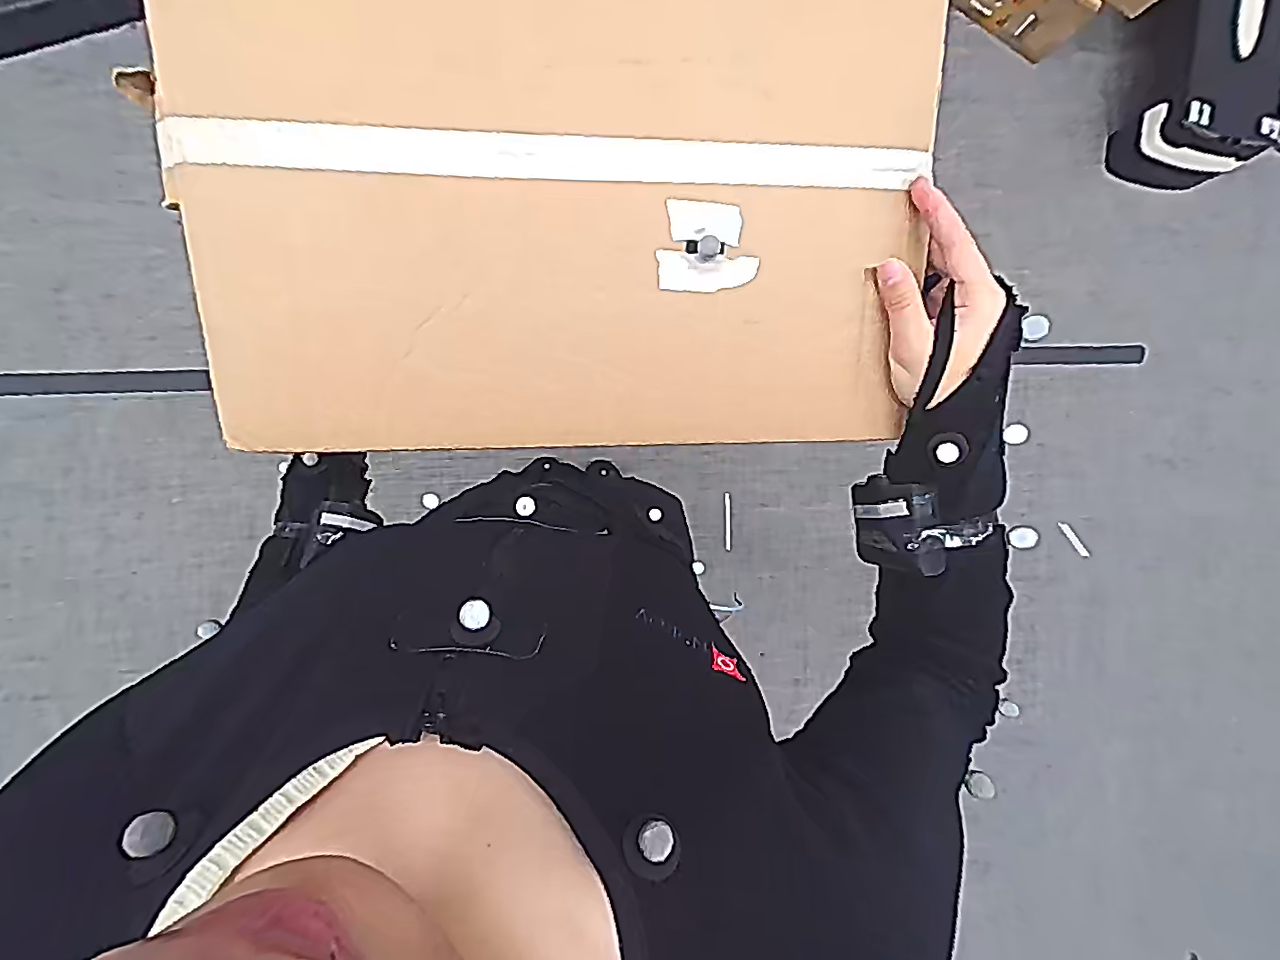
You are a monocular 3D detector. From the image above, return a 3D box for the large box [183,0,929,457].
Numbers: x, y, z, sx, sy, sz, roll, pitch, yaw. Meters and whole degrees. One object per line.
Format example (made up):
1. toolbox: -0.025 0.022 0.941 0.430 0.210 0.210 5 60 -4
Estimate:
1. large box: -0.050 -0.203 0.450 0.408 0.320 0.320 -2 103 -8
